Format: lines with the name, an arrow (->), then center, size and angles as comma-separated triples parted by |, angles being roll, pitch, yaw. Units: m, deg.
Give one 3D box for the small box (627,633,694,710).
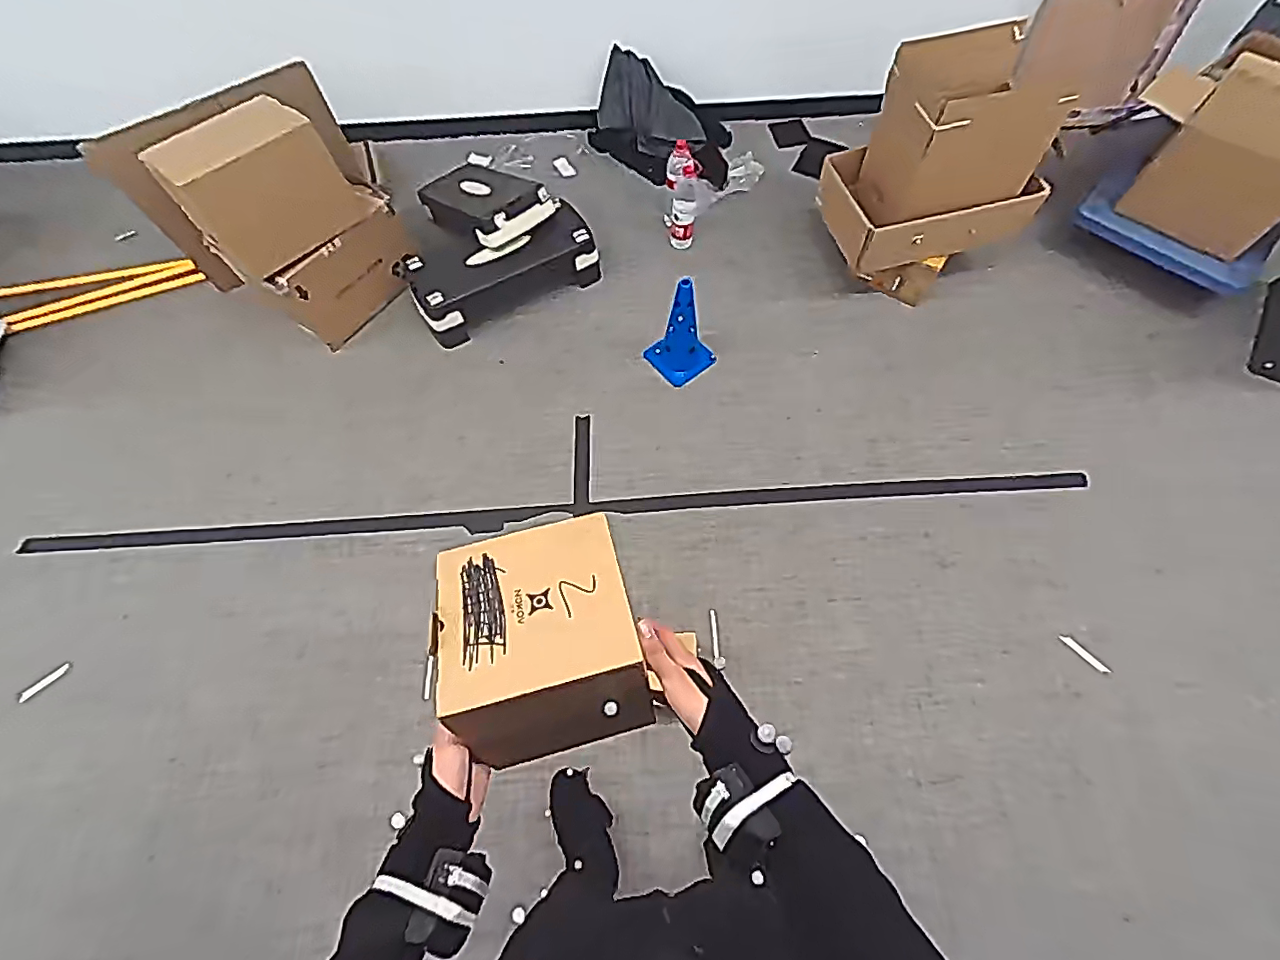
small box -> 0.055, 0.504, 1.413 | 0.168, 0.176, 0.179 | 1, 64, 1
